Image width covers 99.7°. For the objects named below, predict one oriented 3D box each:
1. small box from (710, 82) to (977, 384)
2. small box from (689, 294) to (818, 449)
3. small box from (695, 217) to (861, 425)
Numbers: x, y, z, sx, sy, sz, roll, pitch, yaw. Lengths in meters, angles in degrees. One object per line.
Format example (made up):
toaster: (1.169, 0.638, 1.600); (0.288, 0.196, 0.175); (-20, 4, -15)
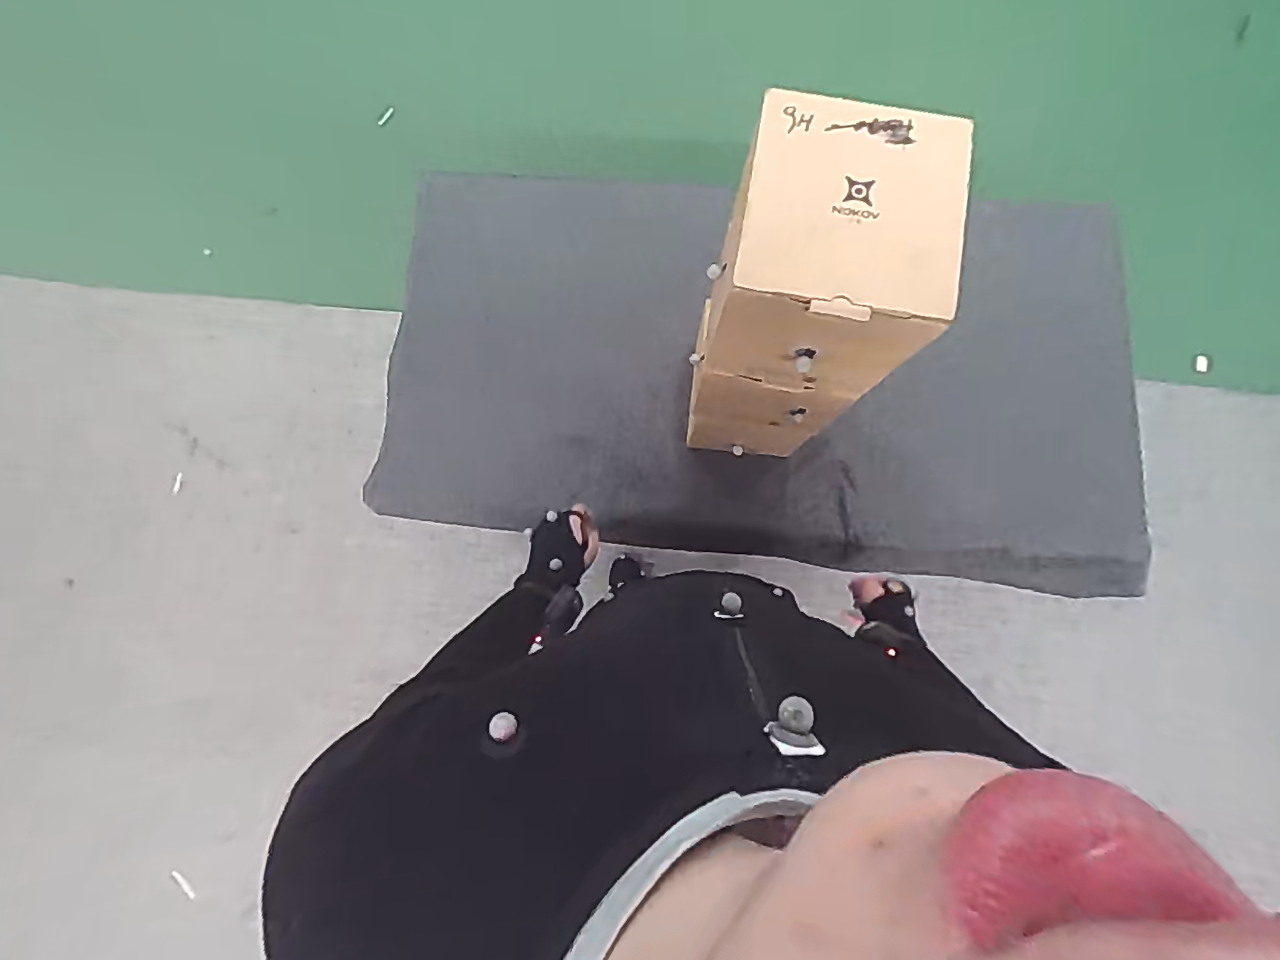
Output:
small box: (0.163, -0.201, 0.487); (0.168, 0.176, 0.179); (12, 83, 2)
small box: (0.166, -0.155, 0.809); (0.168, 0.176, 0.179); (6, 82, 2)
small box: (0.162, -0.176, 0.649); (0.168, 0.176, 0.179); (9, 81, 2)
